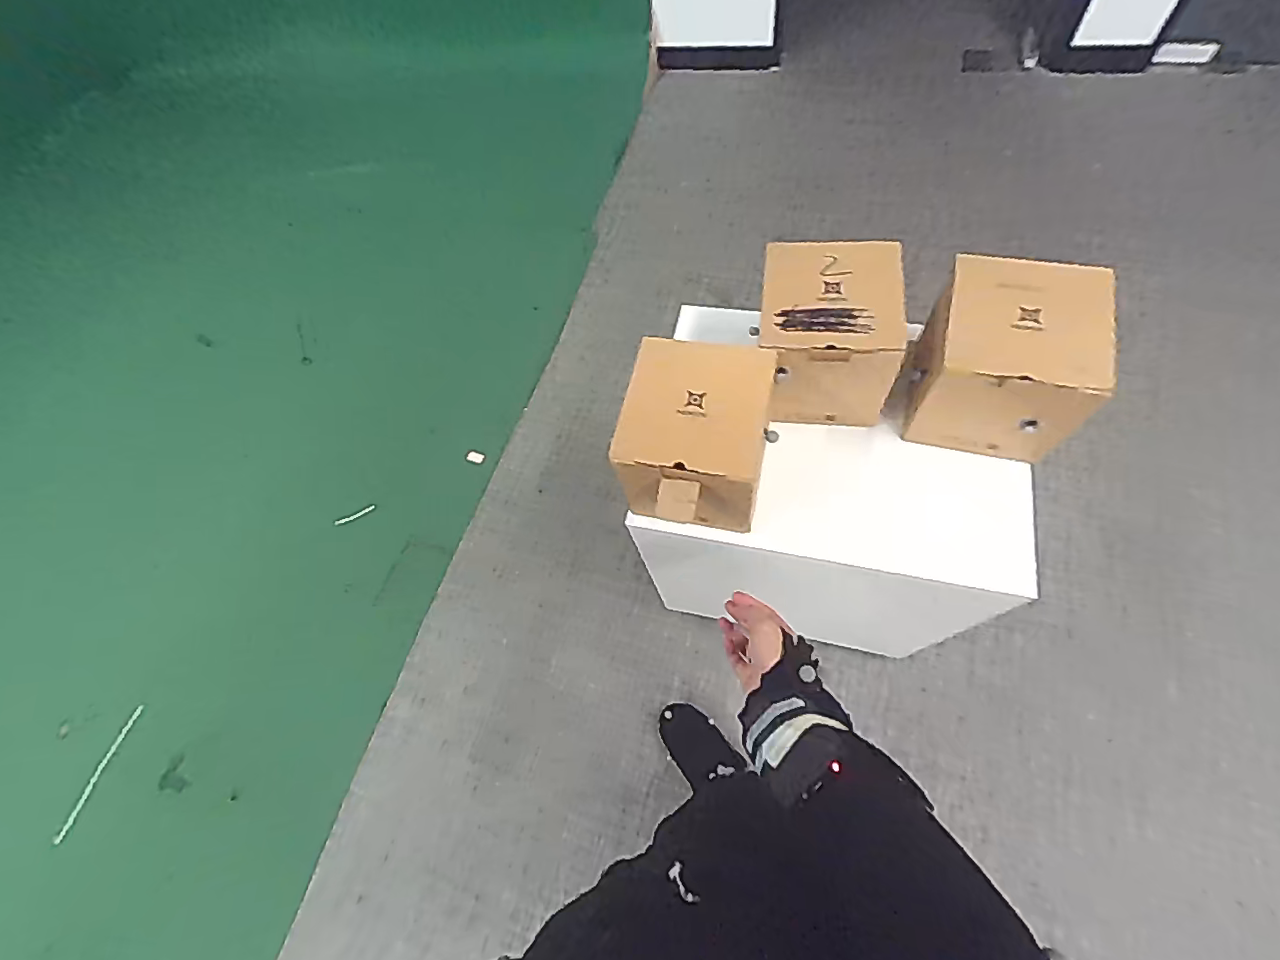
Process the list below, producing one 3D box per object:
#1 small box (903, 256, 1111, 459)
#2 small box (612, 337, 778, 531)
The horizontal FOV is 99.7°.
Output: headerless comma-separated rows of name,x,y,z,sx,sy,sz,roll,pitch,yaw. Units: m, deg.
small box,0.445,-0.147,0.680,0.168,0.176,0.179,13,67,14
small box,0.075,-0.054,0.693,0.168,0.176,0.179,9,67,13
